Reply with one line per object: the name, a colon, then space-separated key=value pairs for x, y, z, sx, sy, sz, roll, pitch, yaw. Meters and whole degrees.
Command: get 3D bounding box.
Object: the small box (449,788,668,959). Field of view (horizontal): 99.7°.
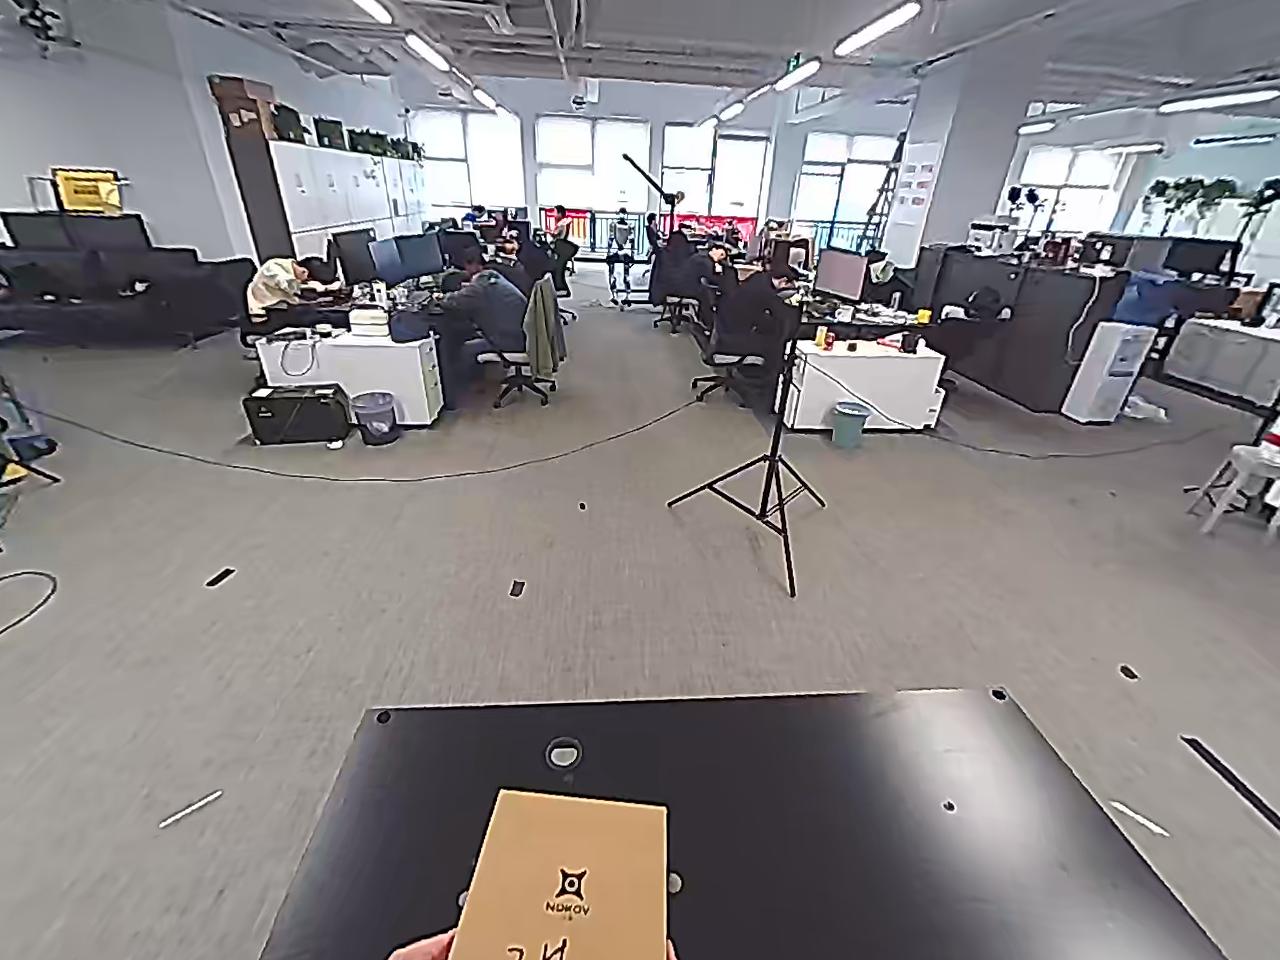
small box: x=-0.065 y=0.418 z=0.482 sx=0.168 sy=0.176 sz=0.179 roll=4 pitch=23 yaw=1
